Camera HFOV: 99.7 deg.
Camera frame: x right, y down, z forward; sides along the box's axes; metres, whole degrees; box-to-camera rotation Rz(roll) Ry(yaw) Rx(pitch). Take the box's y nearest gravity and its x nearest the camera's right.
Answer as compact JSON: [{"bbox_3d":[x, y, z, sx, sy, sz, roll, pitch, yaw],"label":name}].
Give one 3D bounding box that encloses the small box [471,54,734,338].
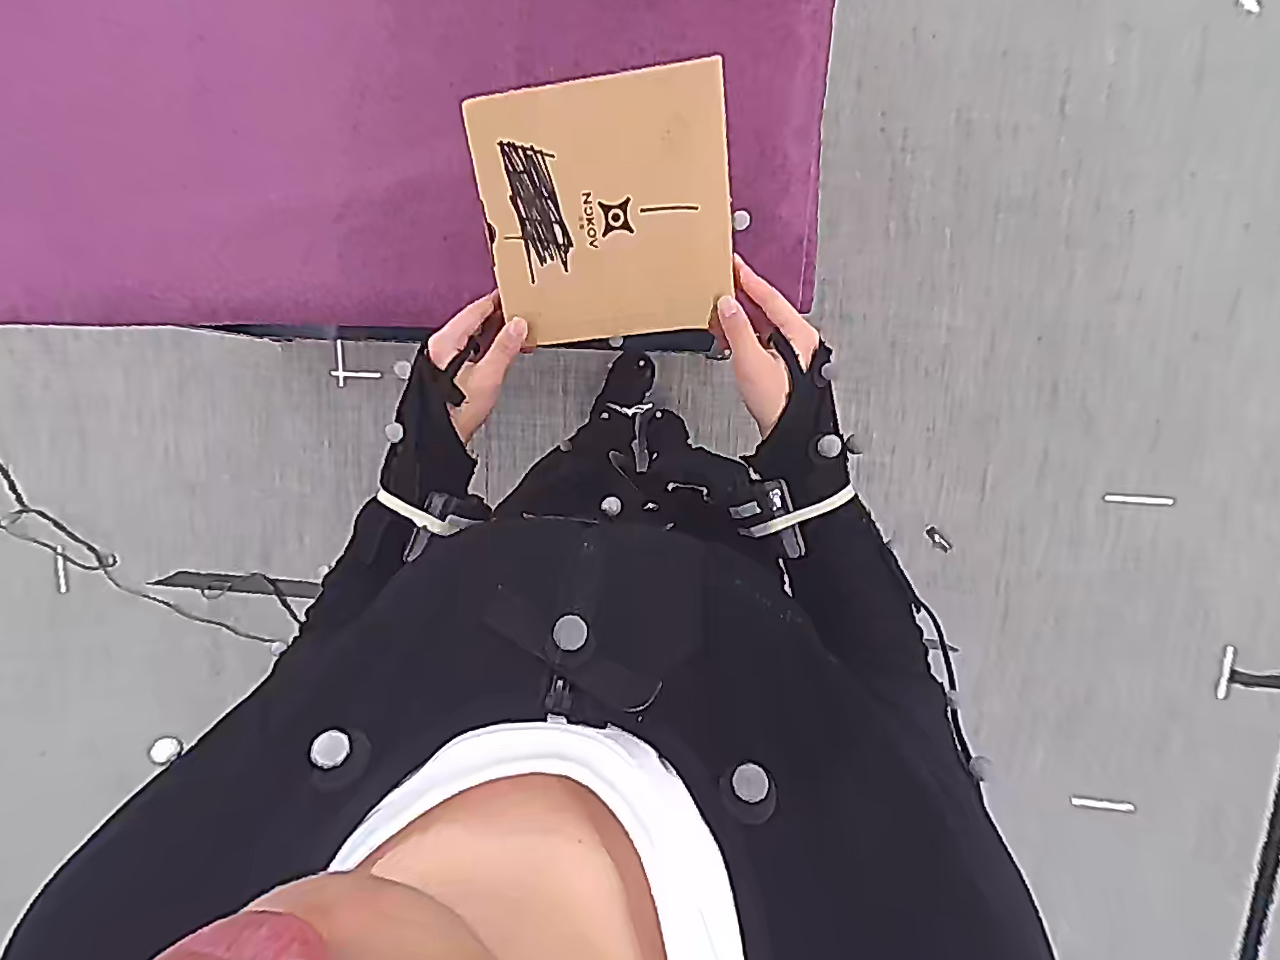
[{"bbox_3d":[-0.012,-0.216,0.454,0.179,0.176,0.168,-3,111,9],"label":"small box"}]
